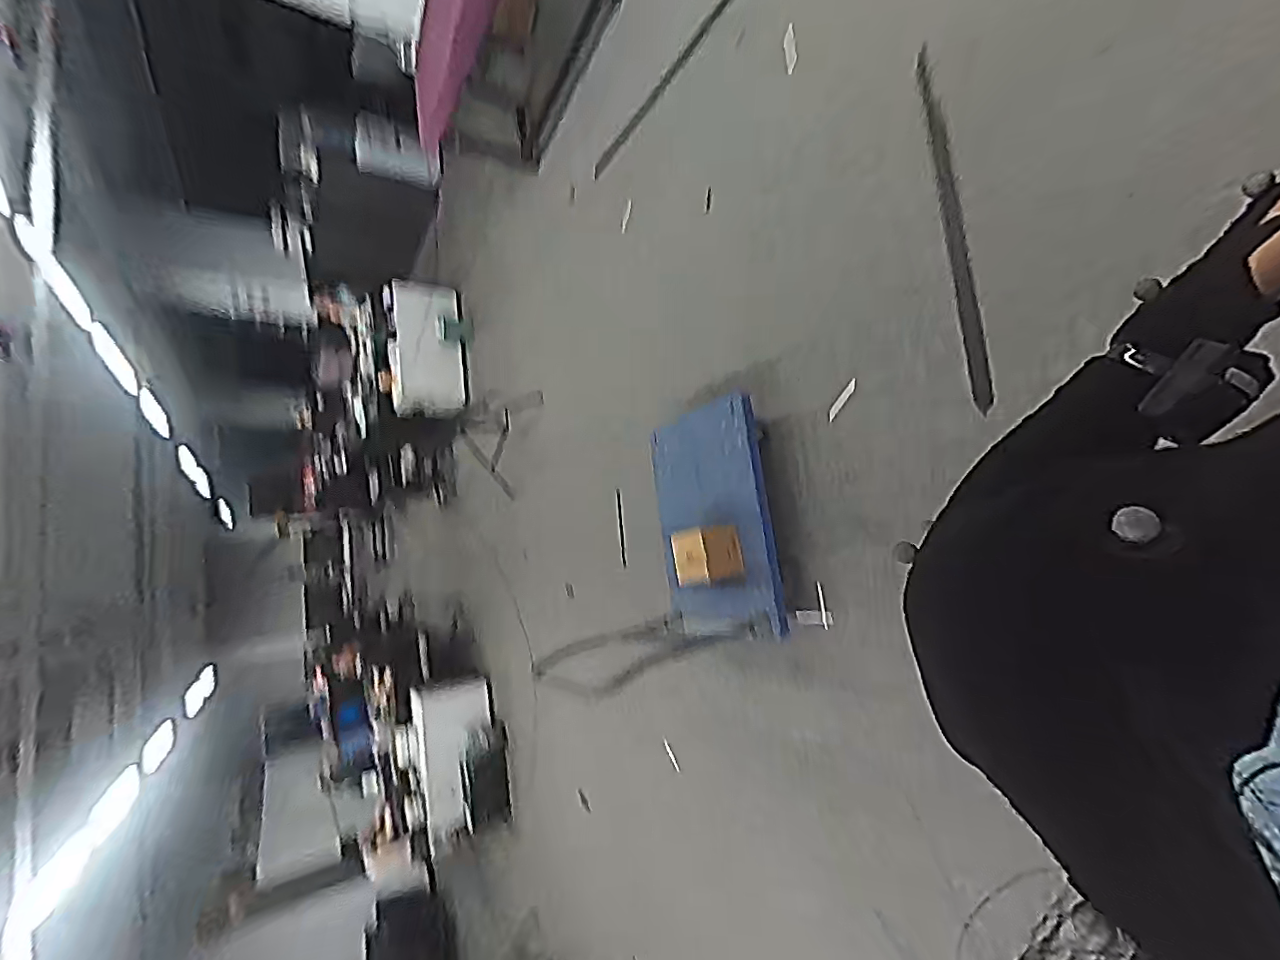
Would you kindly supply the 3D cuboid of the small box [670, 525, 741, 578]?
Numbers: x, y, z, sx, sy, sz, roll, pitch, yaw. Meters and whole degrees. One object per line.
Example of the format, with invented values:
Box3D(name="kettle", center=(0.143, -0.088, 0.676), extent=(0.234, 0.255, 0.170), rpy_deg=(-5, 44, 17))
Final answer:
Box3D(name="small box", center=(0.234, 0.257, 1.940), extent=(0.179, 0.176, 0.168), rpy_deg=(-23, 72, 53))
